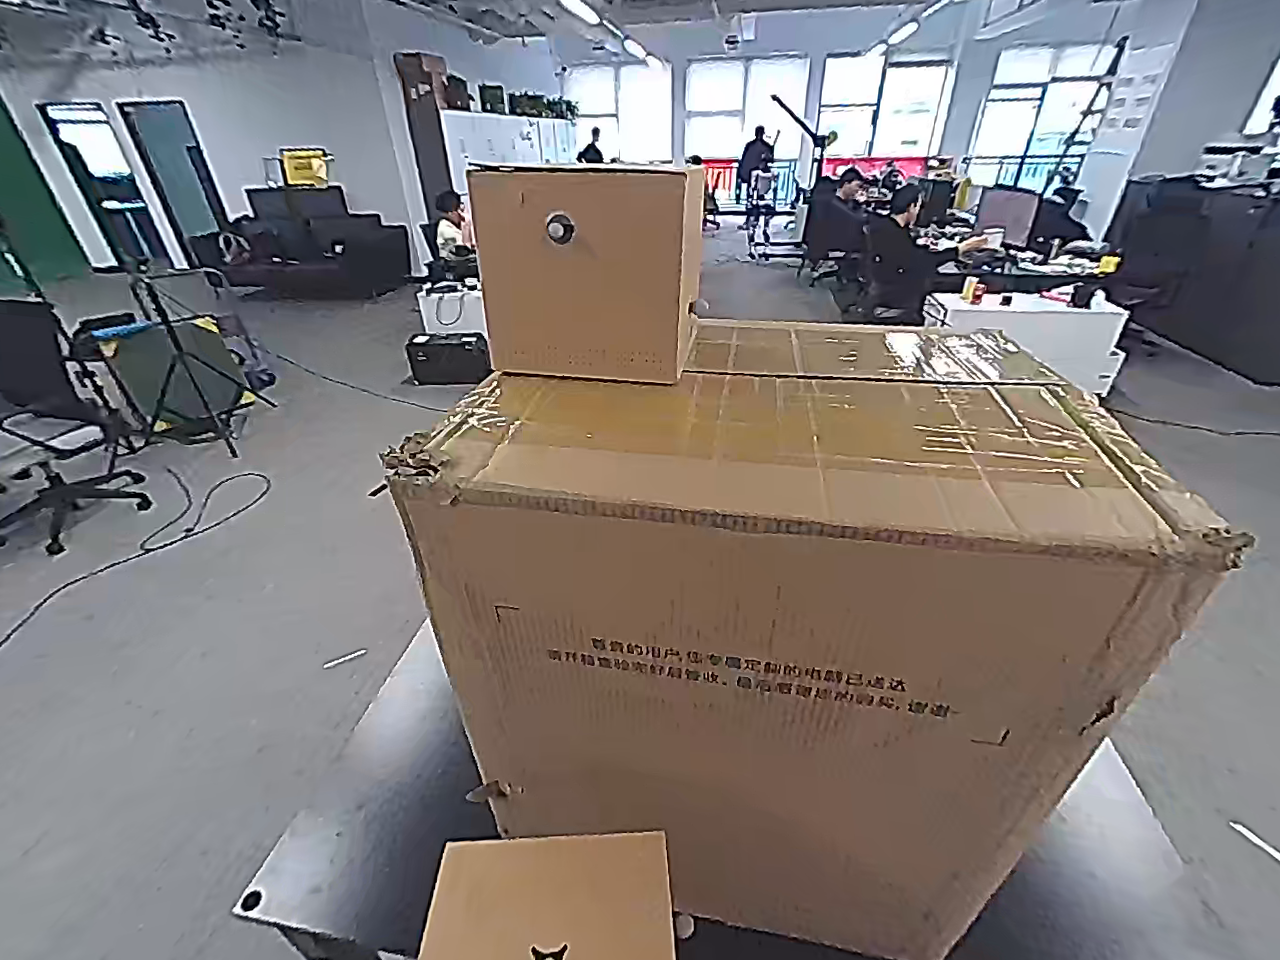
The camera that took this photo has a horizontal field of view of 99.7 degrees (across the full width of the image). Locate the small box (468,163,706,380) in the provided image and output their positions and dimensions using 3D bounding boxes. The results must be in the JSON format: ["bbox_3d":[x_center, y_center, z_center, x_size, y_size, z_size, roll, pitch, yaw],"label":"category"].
[{"bbox_3d":[-0.036,-0.202,0.515,0.179,0.176,0.168,6,31,9],"label":"small box"}]
